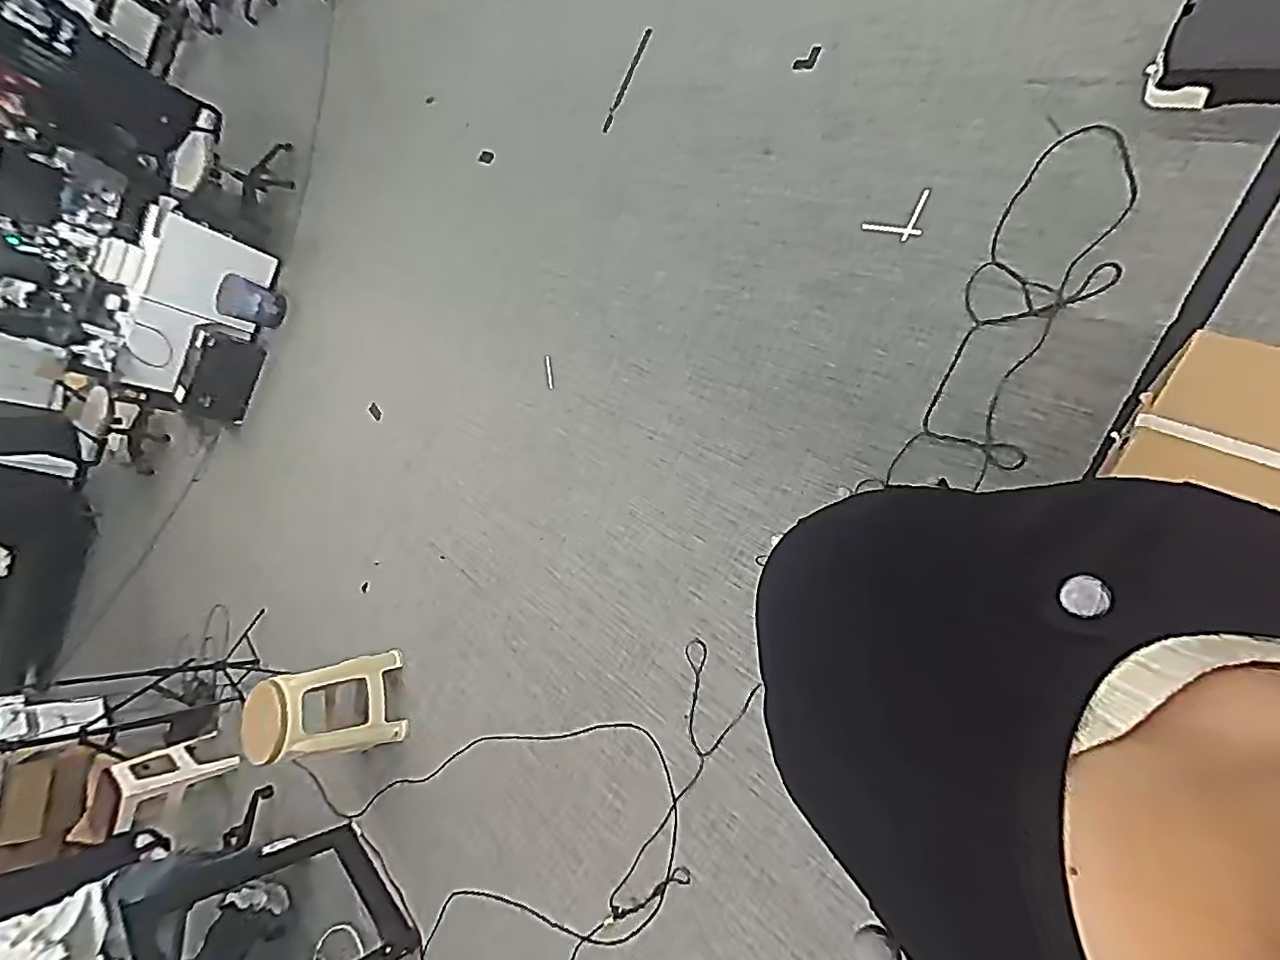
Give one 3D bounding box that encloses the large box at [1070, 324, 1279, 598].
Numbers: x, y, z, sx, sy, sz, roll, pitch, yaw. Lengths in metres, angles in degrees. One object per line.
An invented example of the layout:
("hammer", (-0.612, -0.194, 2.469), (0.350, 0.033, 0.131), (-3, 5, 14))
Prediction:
("large box", (1.008, -0.002, 0.862), (0.408, 0.320, 0.320), (31, 99, 32))
